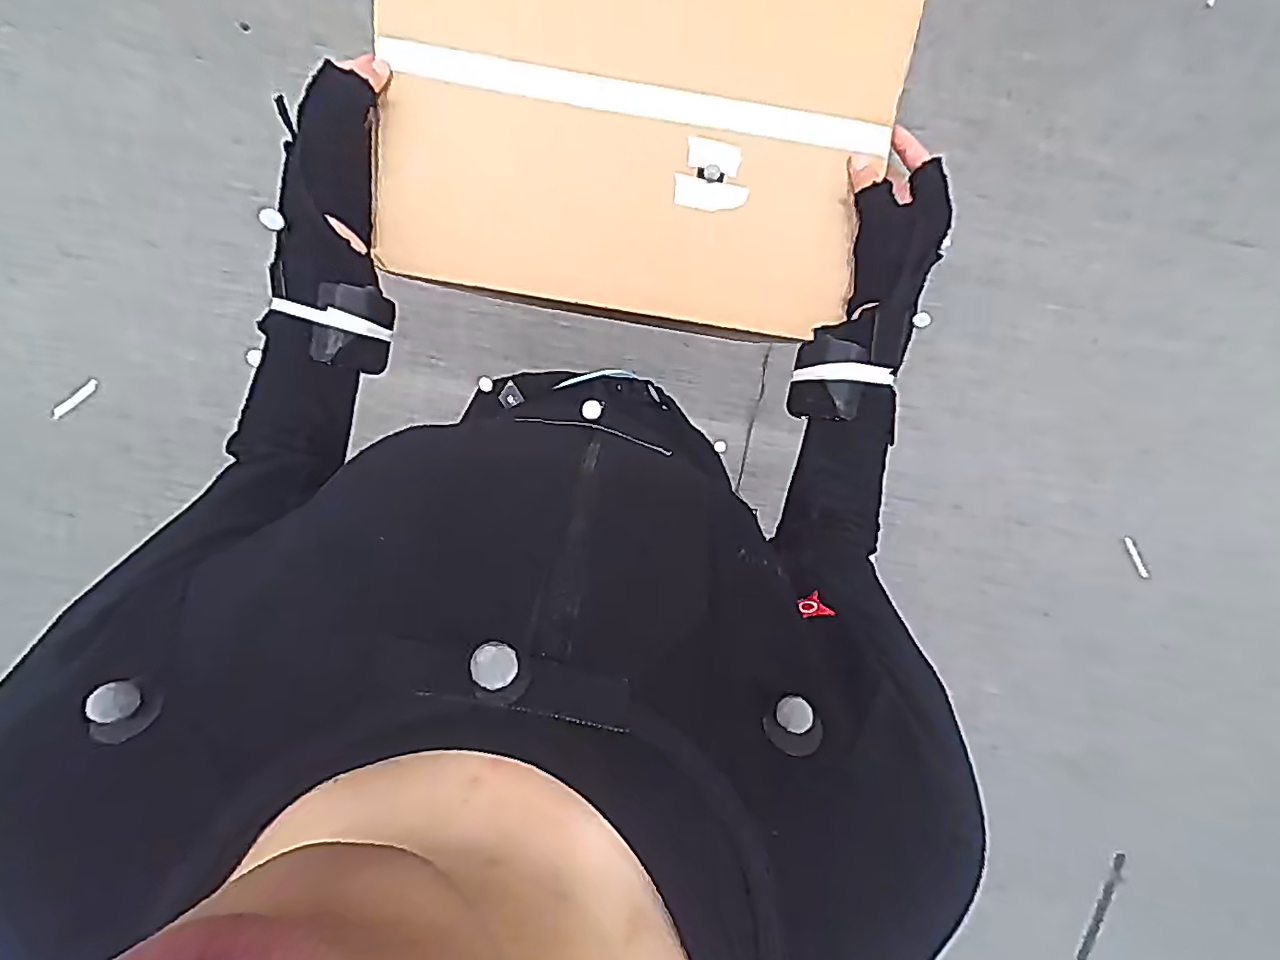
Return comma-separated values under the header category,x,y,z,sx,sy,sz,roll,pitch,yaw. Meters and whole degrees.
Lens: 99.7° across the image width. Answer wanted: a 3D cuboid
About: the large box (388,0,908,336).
category,x,y,z,sx,sy,sz,roll,pitch,yaw
large box,-0.005,-0.340,0.583,0.408,0.320,0.320,8,105,-3
